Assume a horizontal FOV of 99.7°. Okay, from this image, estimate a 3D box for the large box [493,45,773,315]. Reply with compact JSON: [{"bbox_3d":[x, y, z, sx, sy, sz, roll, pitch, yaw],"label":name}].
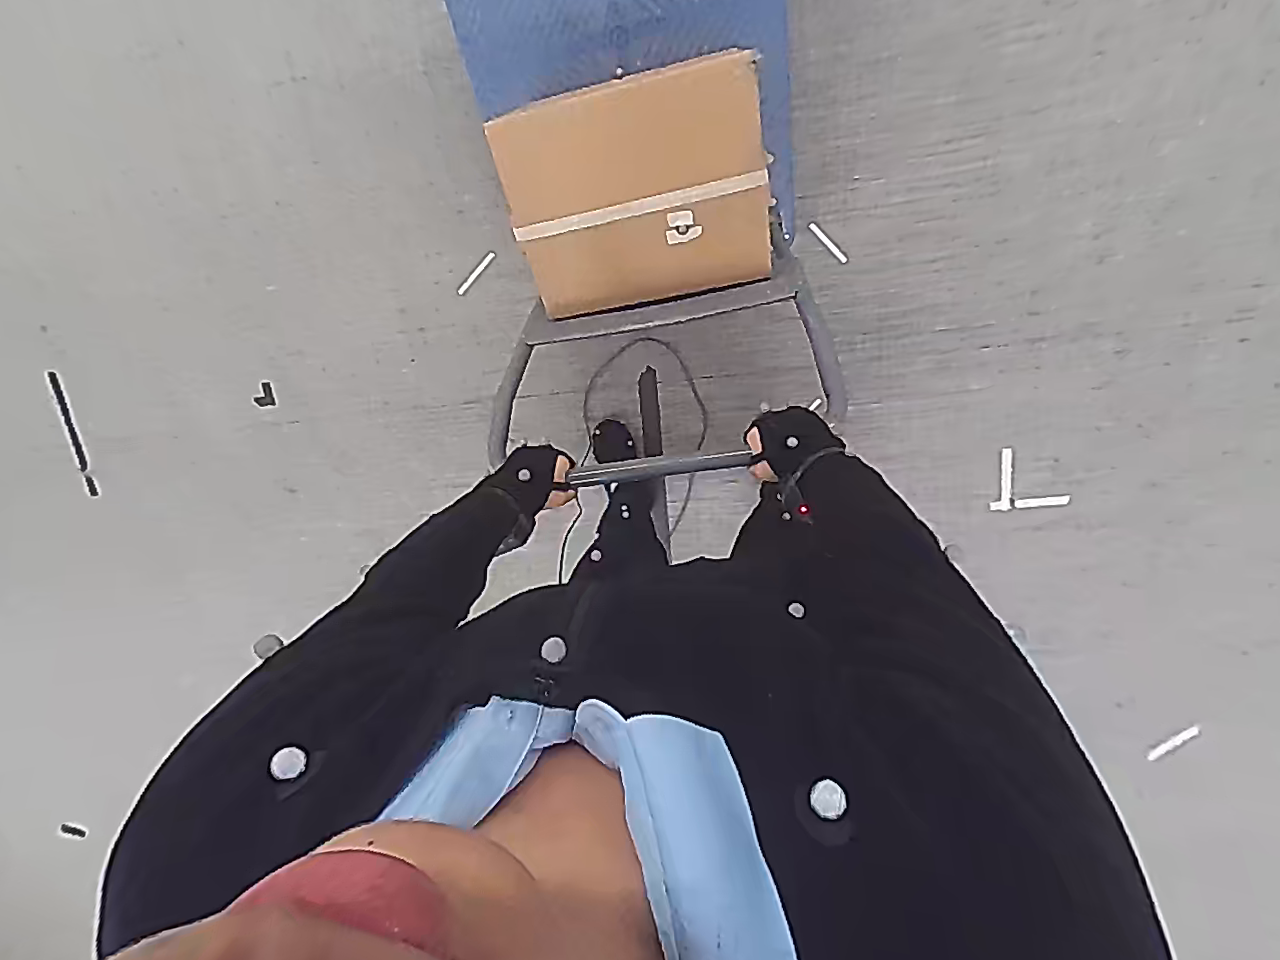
[{"bbox_3d":[0.006,-0.545,0.991,0.408,0.320,0.320,-9,128,10],"label":"large box"}]
